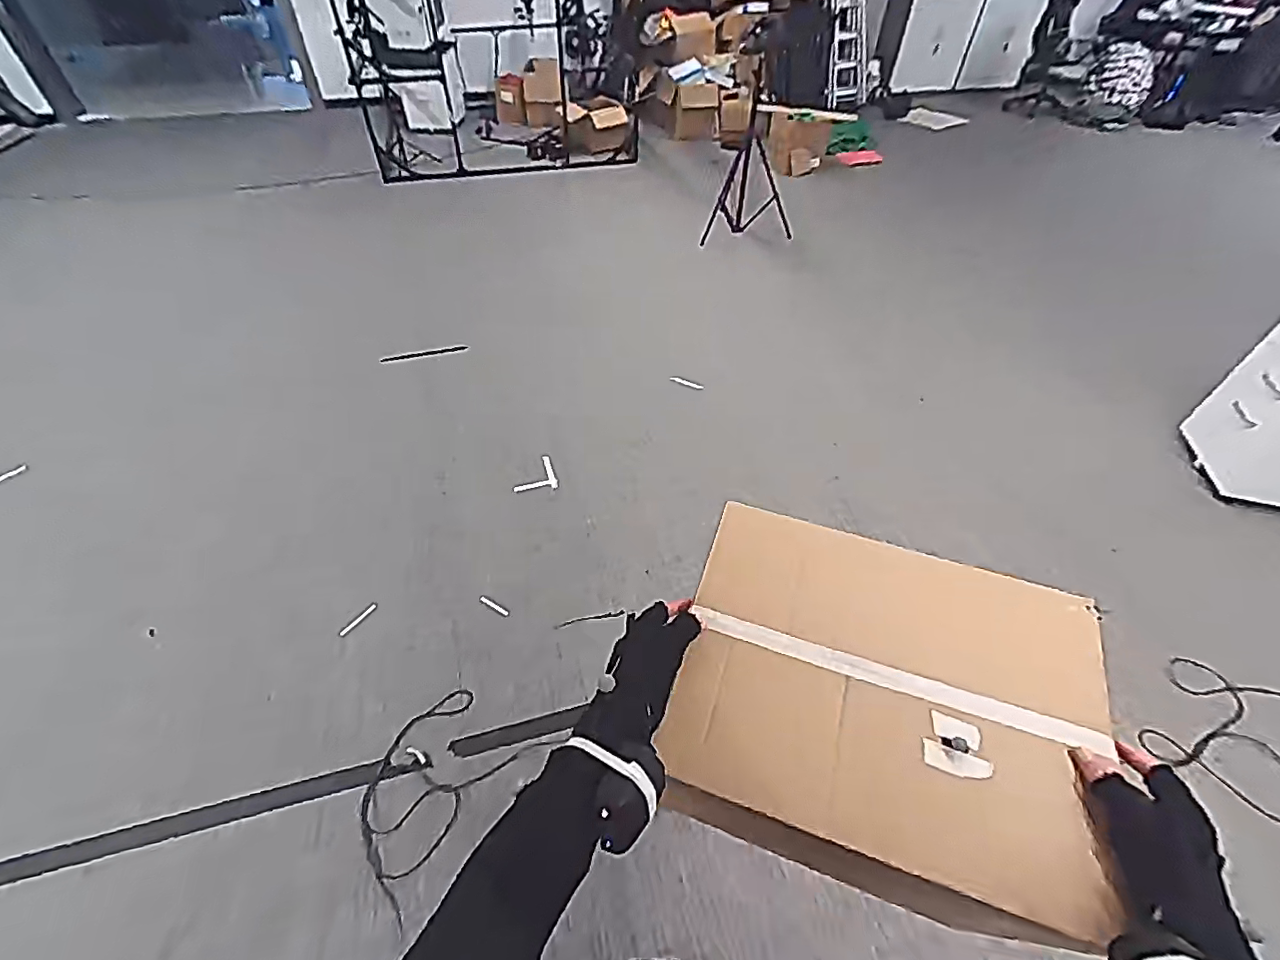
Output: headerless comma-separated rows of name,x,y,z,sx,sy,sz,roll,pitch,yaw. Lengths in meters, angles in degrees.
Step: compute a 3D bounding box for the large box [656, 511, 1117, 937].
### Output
large box,0.252,0.290,0.678,0.408,0.320,0.320,16,58,13
